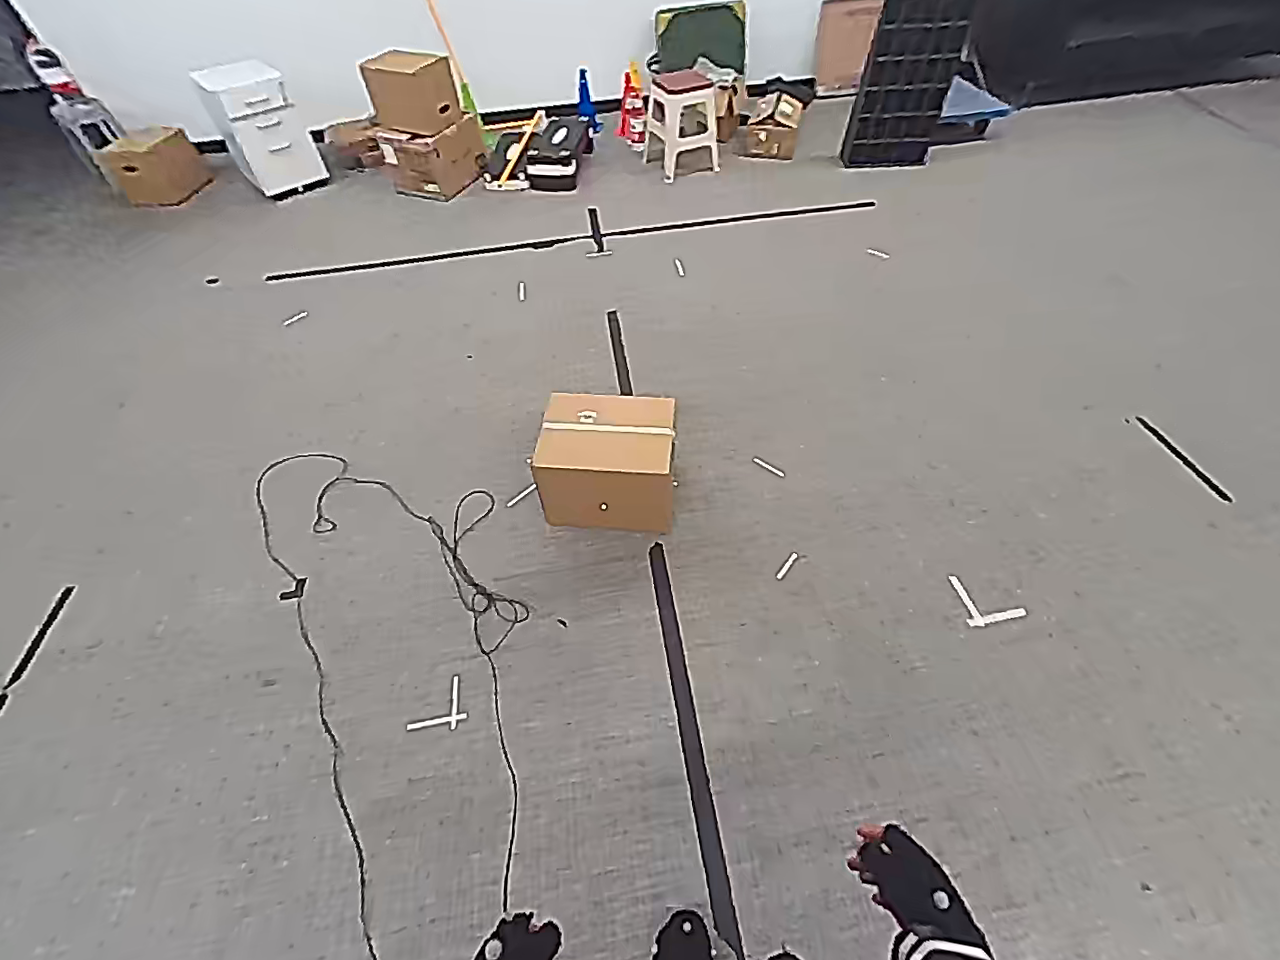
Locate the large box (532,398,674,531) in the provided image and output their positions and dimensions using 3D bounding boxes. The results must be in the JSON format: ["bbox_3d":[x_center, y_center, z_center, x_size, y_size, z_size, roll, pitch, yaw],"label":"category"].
[{"bbox_3d":[-0.094,-0.047,1.754,0.408,0.320,0.320,3,51,6],"label":"large box"}]
